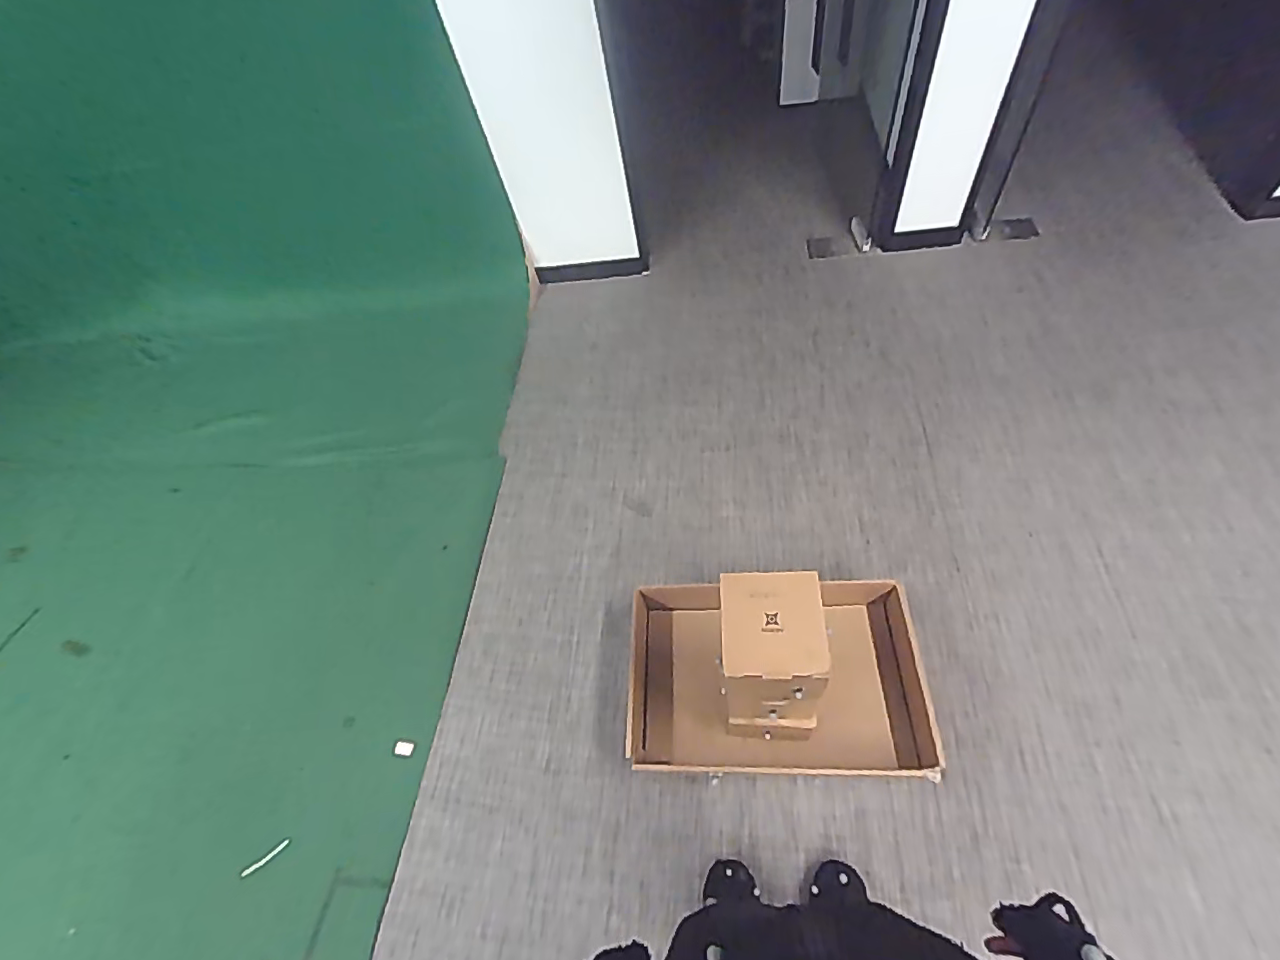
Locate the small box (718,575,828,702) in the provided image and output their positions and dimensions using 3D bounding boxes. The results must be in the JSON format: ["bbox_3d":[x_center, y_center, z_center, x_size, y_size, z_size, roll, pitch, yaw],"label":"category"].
[{"bbox_3d":[0.225,0.281,0.945,0.168,0.176,0.179,-3,54,9],"label":"small box"}]

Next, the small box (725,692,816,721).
[{"bbox_3d":[0.256,0.382,1.093,0.168,0.176,0.179,-6,54,9],"label":"small box"}]

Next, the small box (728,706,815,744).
[{"bbox_3d":[0.289,0.485,1.212,0.179,0.176,0.168,-2,55,12],"label":"small box"}]
